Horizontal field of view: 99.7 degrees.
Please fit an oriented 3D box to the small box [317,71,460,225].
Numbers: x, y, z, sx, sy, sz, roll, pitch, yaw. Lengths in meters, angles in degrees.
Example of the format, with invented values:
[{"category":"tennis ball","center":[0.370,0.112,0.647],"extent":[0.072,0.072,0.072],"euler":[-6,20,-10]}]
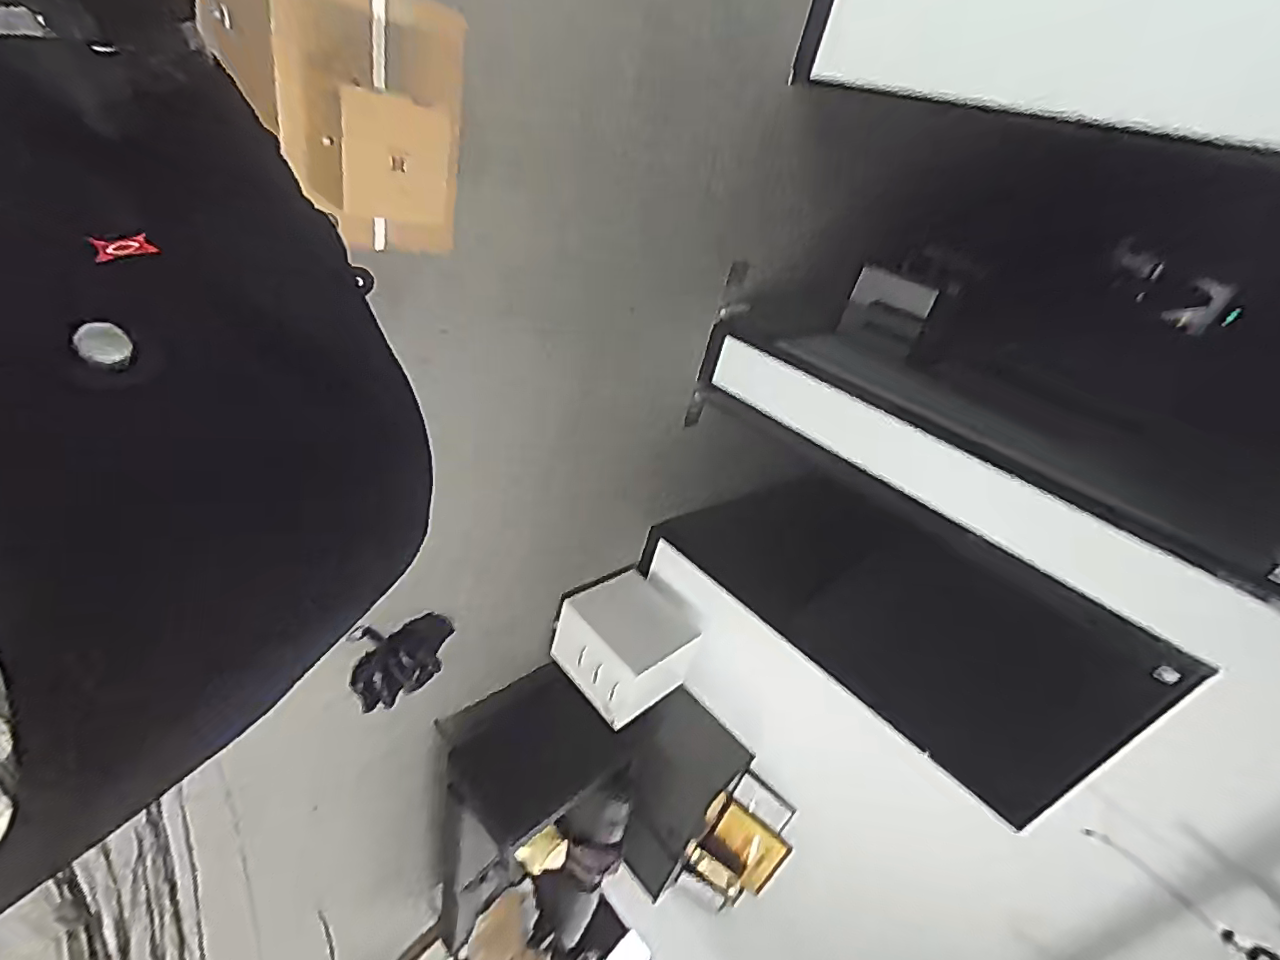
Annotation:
[{"category":"small box","center":[-0.417,-0.545,0.894],"extent":[0.168,0.176,0.179],"euler":[-15,134,-41]}]
